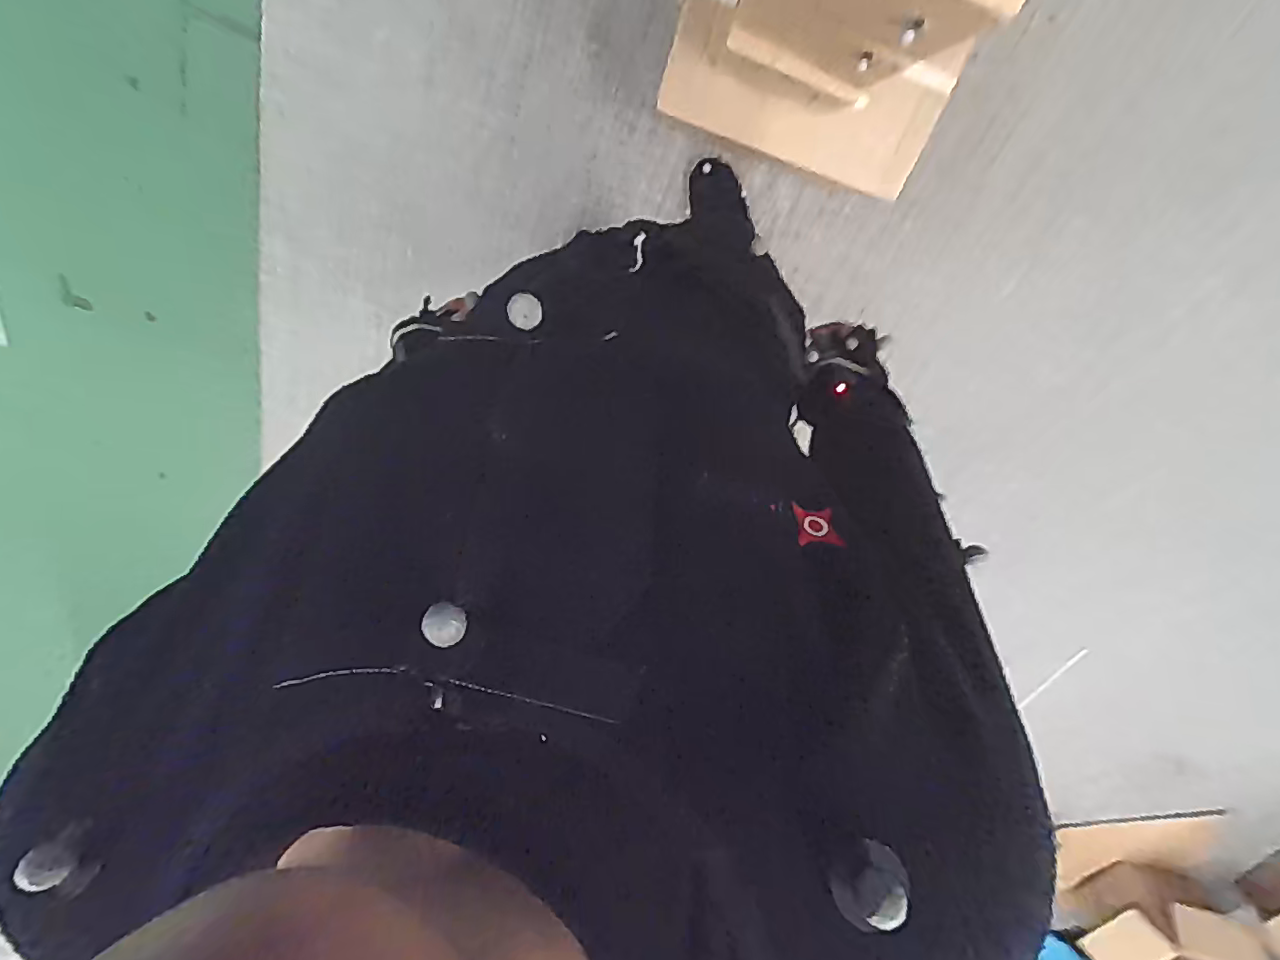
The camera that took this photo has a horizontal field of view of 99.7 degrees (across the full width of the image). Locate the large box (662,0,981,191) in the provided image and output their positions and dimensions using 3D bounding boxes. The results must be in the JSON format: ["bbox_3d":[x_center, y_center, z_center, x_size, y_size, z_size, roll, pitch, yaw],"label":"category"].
[{"bbox_3d":[0.268,-0.705,0.882,0.408,0.320,0.320,16,121,-6],"label":"large box"}]

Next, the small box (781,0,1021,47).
[{"bbox_3d":[0.196,-0.442,0.381,0.179,0.176,0.168,17,118,-6],"label":"small box"}]

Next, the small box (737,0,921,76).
[{"bbox_3d":[0.208,-0.524,0.521,0.179,0.176,0.168,20,119,-8],"label":"small box"}]
